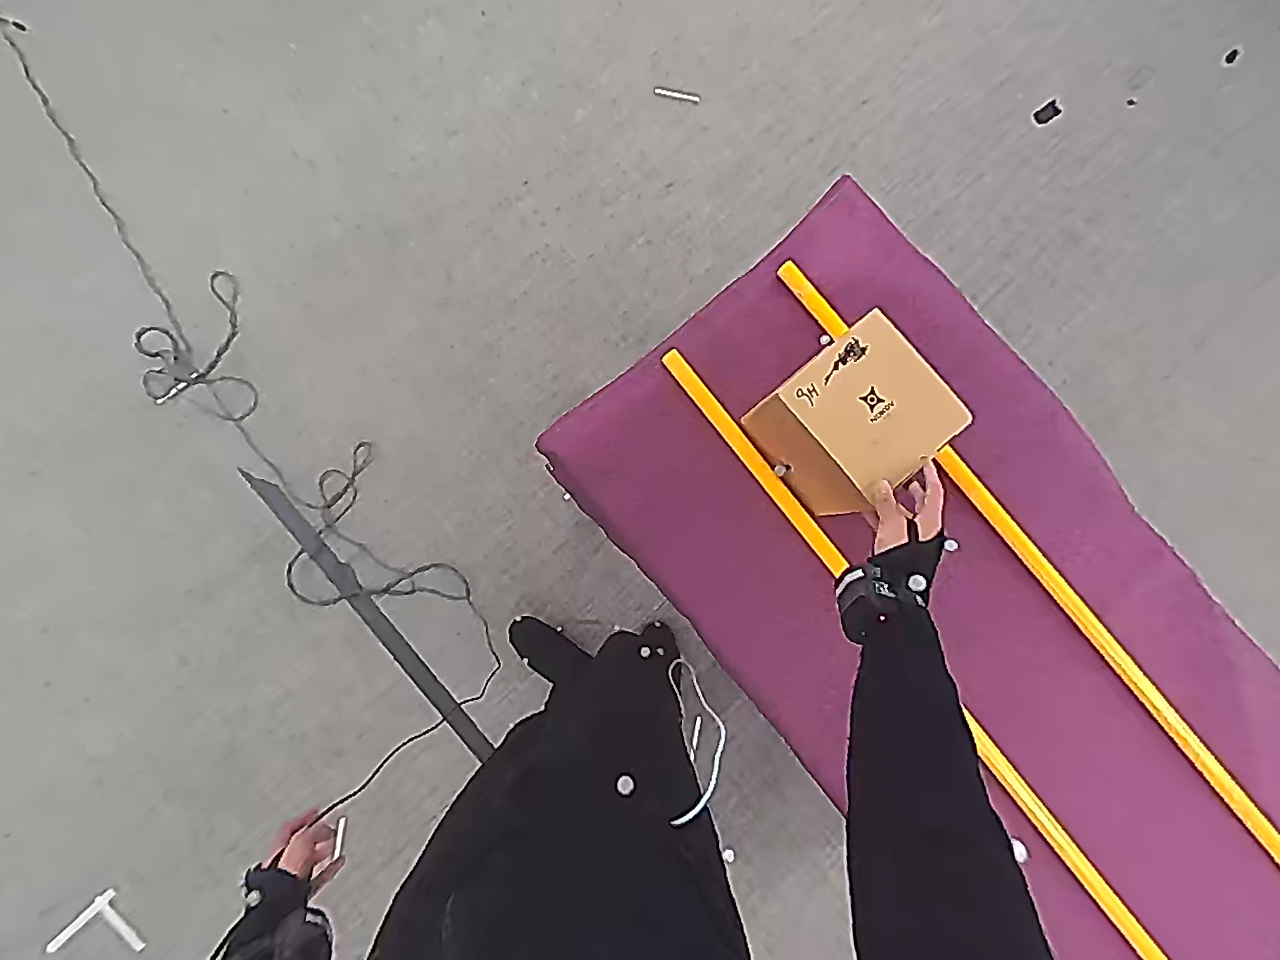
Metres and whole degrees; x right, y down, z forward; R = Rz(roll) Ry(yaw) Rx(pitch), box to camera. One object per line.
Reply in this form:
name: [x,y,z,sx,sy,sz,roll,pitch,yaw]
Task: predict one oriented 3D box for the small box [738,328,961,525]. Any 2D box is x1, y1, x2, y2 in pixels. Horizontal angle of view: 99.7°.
small box: [0.257,-0.059,0.706,0.168,0.176,0.179,-39,89,-7]
